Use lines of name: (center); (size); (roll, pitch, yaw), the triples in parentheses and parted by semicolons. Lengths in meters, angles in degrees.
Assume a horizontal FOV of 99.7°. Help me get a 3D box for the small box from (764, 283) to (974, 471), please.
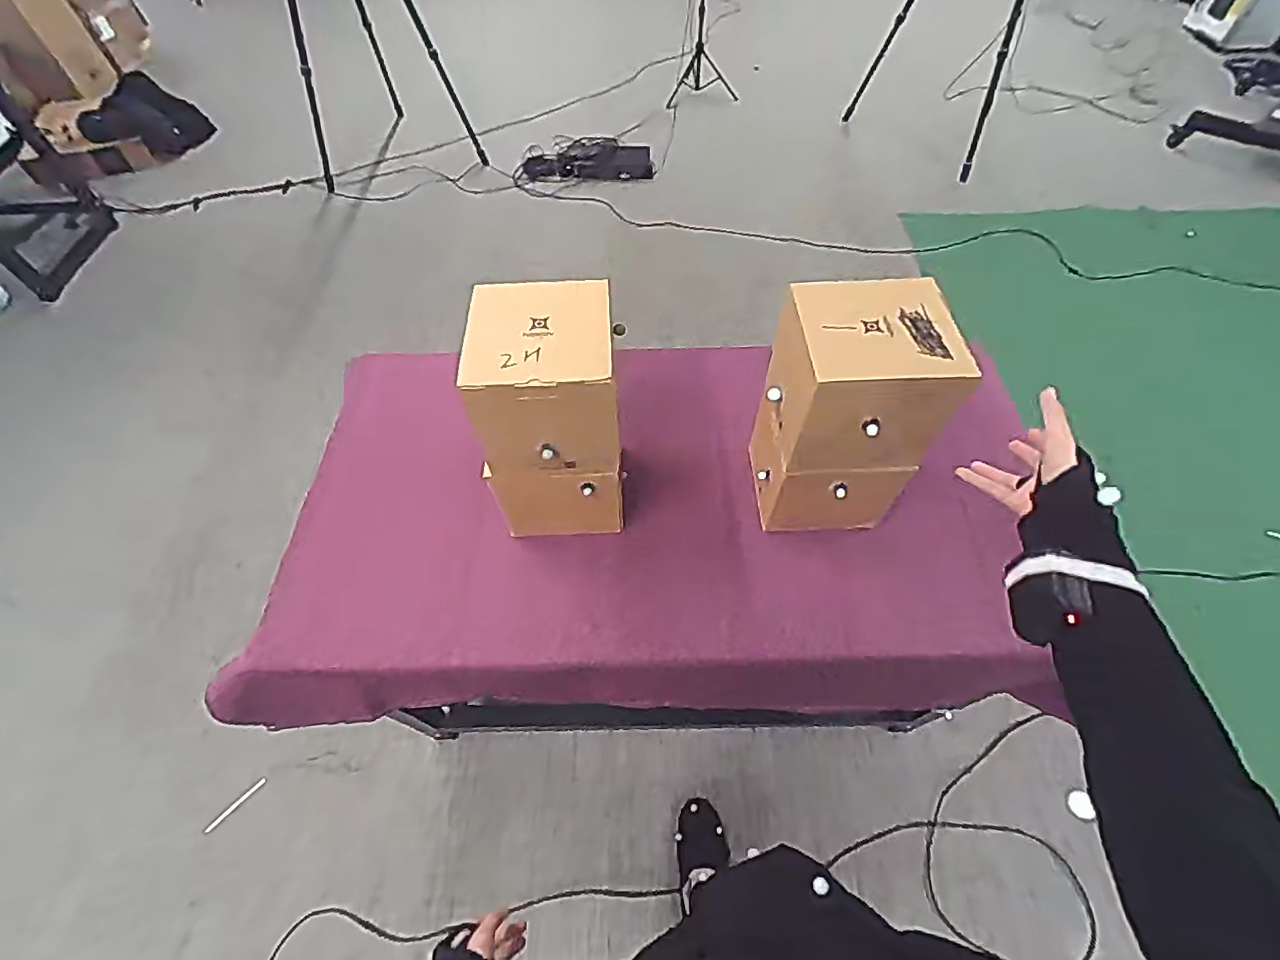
small box: (0.266, -0.123, 0.677); (0.179, 0.176, 0.168); (-2, 56, 0)

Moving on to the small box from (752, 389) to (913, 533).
small box: (0.270, -0.029, 0.812); (0.179, 0.176, 0.168); (-1, 56, 0)

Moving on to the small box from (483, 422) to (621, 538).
small box: (-0.121, -0.021, 0.817); (0.179, 0.176, 0.168); (-3, 55, -2)

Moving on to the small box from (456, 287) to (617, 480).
small box: (-0.116, -0.119, 0.683); (0.168, 0.176, 0.179); (-3, 55, -1)
